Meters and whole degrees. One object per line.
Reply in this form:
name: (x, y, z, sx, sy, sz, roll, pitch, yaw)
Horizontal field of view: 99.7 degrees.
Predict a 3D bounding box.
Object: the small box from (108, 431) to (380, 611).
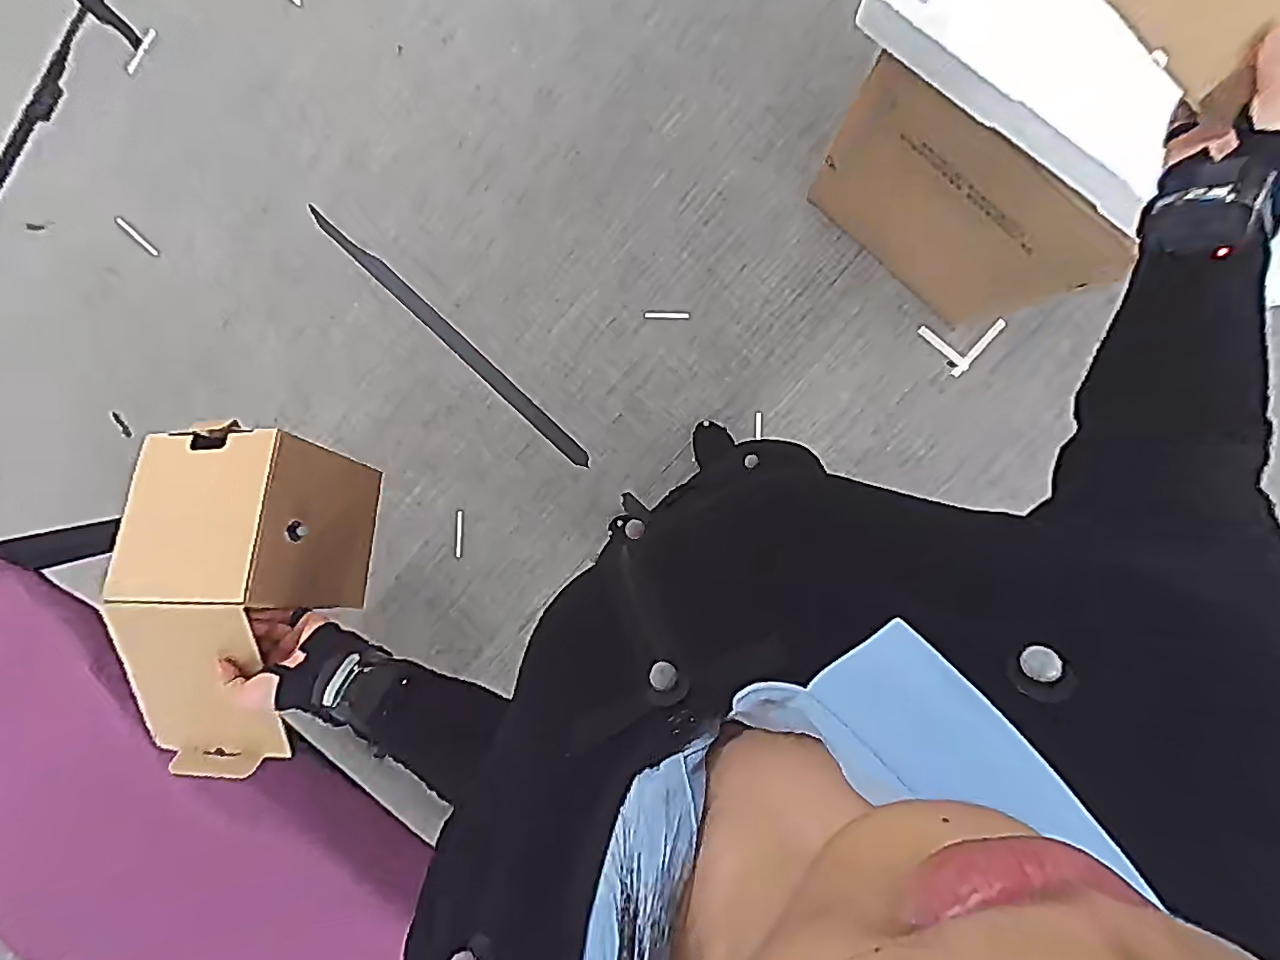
small box: (-0.423, 0.057, 0.610, 0.168, 0.176, 0.179, -2, 74, 10)
